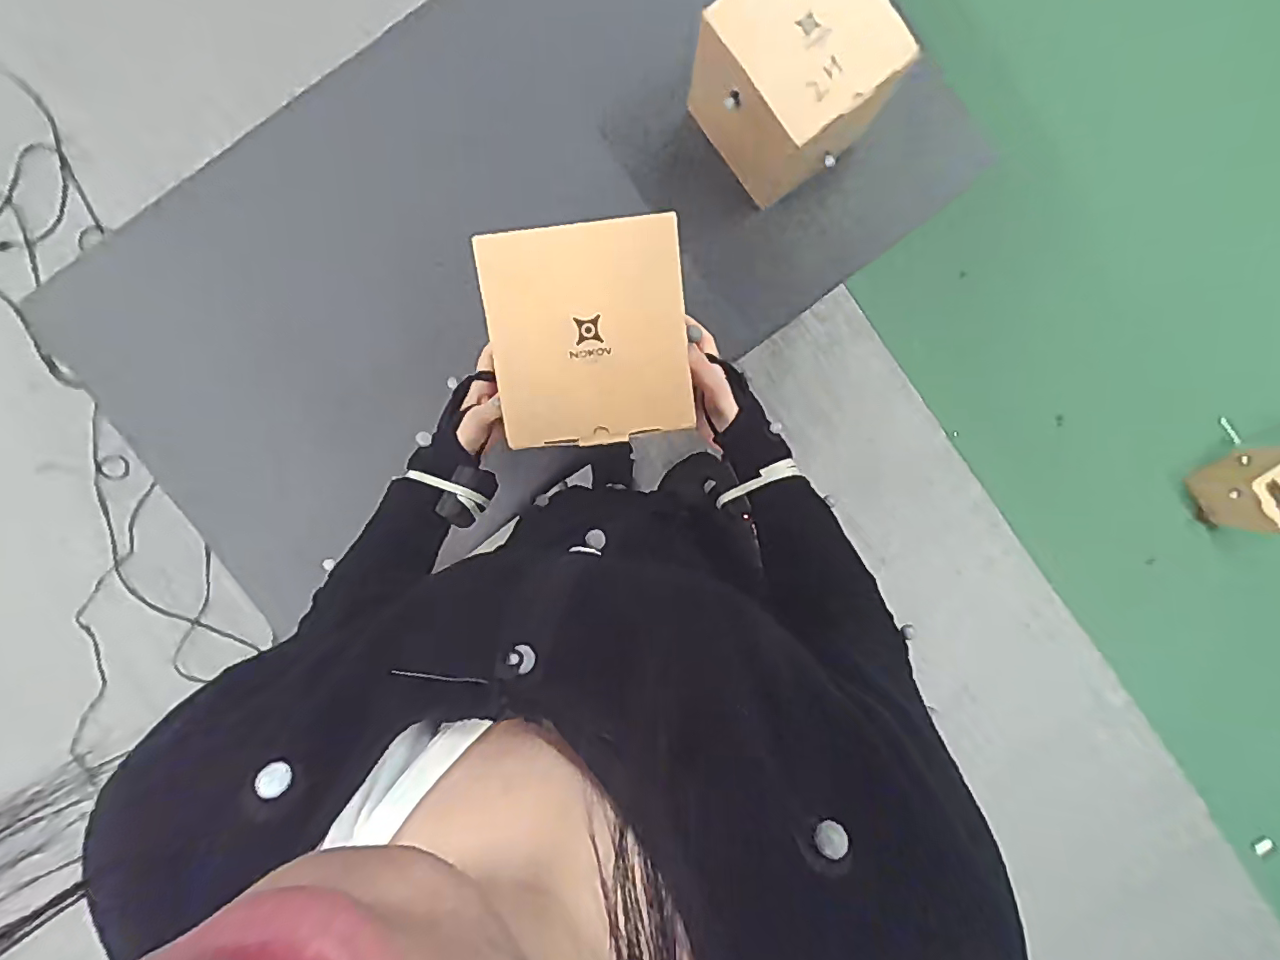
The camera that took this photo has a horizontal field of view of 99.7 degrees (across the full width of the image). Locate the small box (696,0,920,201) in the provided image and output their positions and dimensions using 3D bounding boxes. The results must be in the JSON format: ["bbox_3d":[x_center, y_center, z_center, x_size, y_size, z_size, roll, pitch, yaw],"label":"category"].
[{"bbox_3d":[0.183,-0.484,0.652,0.168,0.176,0.179,-38,93,4],"label":"small box"}]
